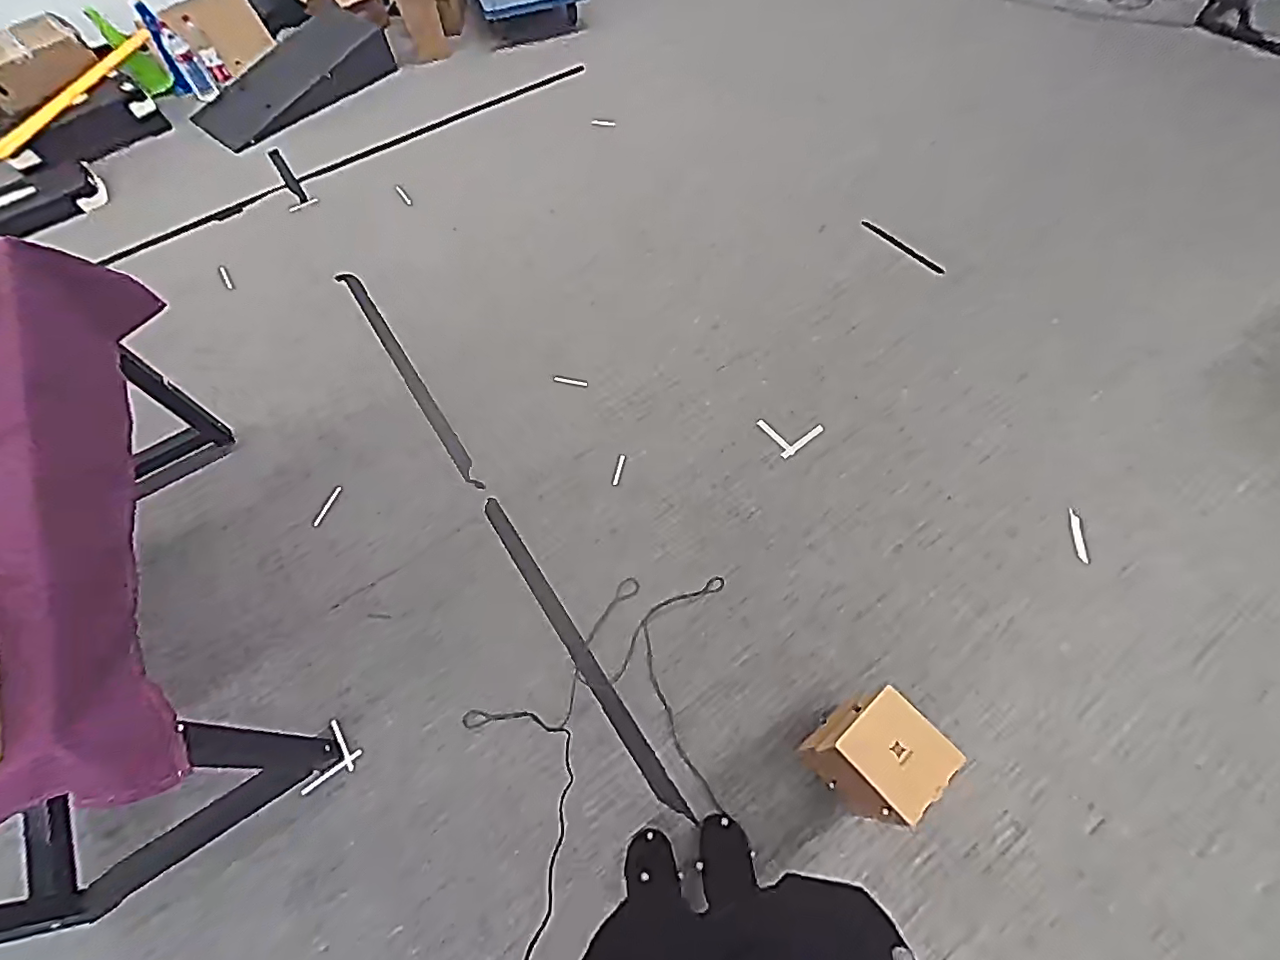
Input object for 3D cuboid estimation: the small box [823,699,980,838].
[{"bbox_3d":[0.488,0.534,1.011,0.179,0.176,0.168,-36,83,-35],"label":"small box"}]
